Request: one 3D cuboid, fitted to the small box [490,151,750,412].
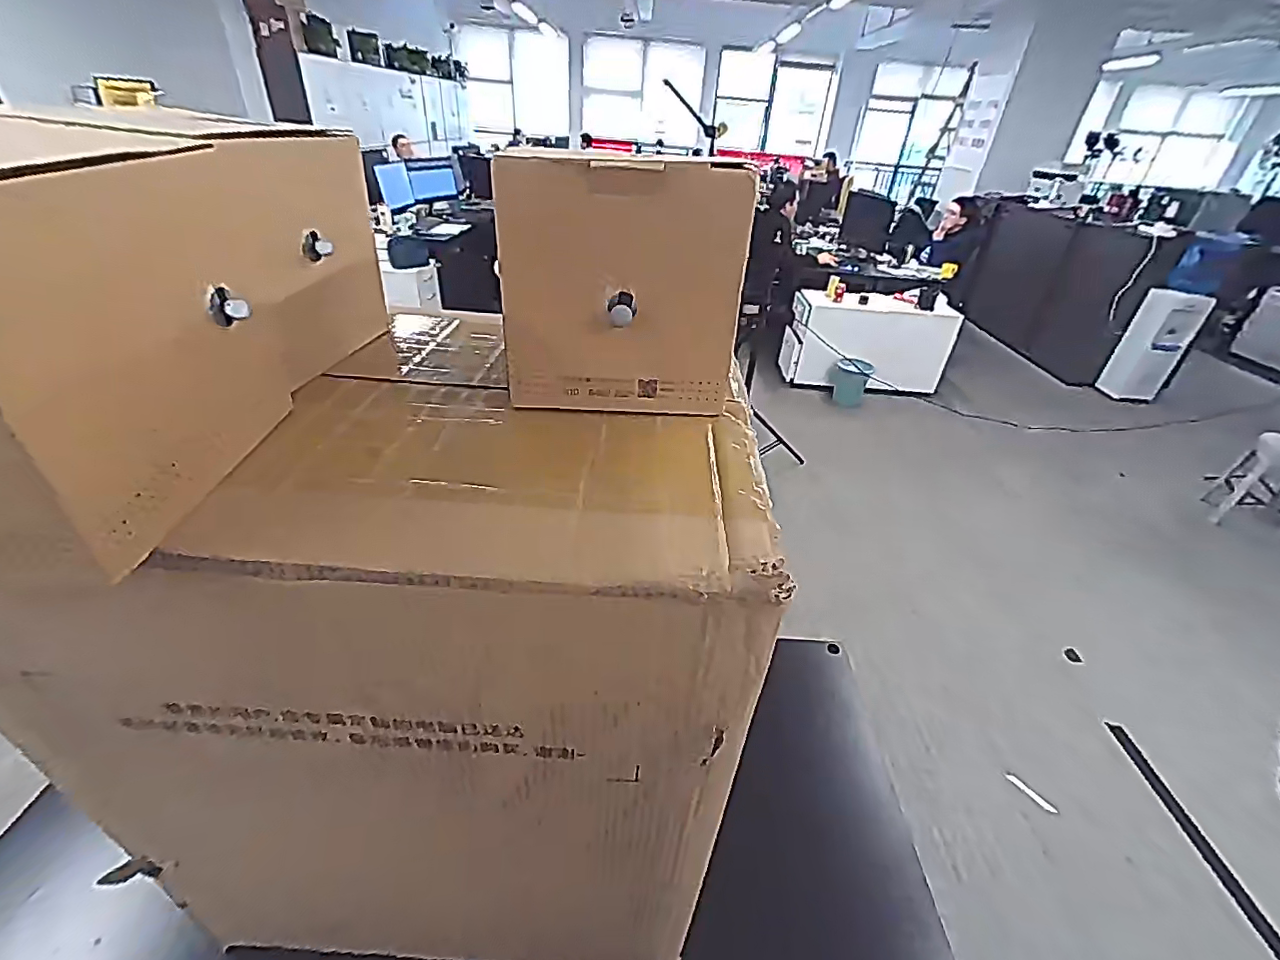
[{"bbox_3d":[-0.016,-0.166,0.445,0.168,0.176,0.179,2,33,-3],"label":"small box"}]
